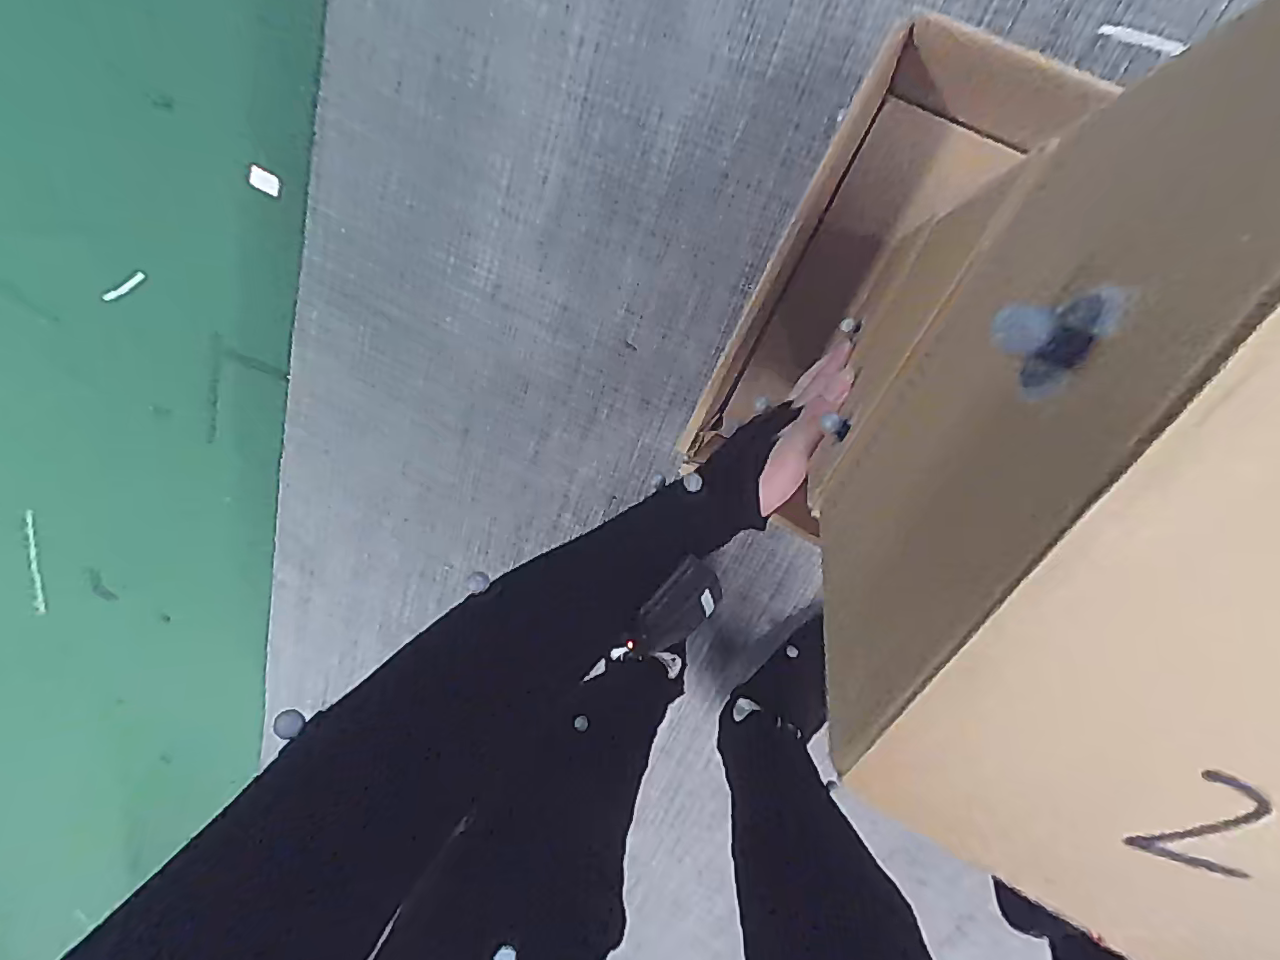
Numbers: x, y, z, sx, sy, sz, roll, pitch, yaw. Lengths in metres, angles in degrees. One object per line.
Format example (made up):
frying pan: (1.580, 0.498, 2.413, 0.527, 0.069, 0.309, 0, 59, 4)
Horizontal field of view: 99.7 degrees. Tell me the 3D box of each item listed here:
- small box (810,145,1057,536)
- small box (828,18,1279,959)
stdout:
small box: (0.206, -0.038, 0.293, 0.168, 0.176, 0.179, 27, 114, 8)
small box: (0.162, 0.007, 0.141, 0.168, 0.176, 0.179, 28, 114, 8)
